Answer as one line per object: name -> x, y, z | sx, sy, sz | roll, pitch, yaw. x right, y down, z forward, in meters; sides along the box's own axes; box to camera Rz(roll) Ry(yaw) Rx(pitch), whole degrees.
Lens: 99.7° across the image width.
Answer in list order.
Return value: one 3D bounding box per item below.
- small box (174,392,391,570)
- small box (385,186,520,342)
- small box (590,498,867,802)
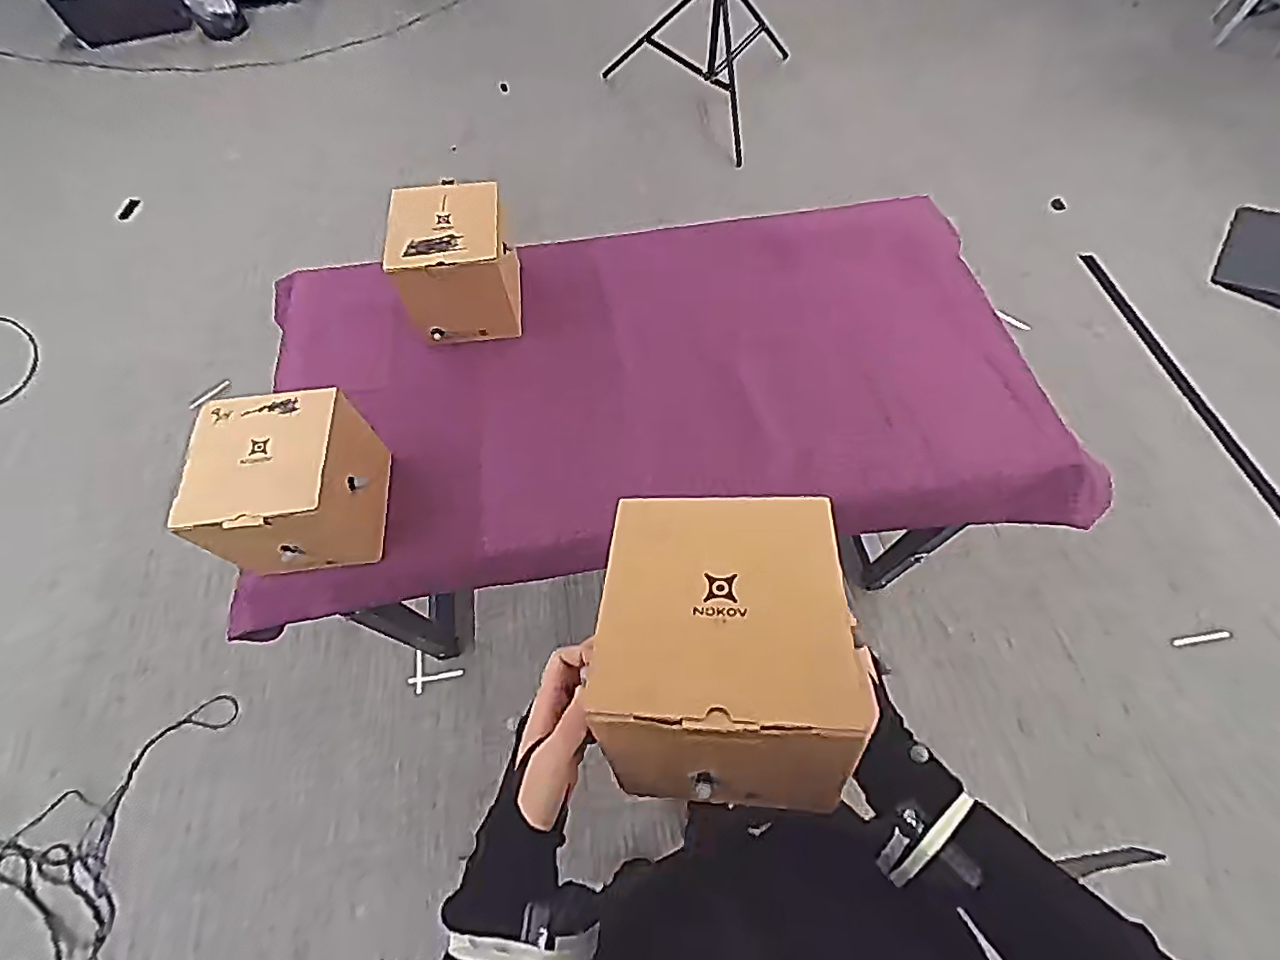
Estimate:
small box -> -0.446, 0.011, 0.710 | 0.168, 0.176, 0.179 | -7, 63, -3
small box -> -0.294, -0.344, 0.887 | 0.168, 0.176, 0.179 | -6, 64, -2
small box -> 0.066, 0.132, 0.431 | 0.168, 0.176, 0.179 | -1, 47, 9
